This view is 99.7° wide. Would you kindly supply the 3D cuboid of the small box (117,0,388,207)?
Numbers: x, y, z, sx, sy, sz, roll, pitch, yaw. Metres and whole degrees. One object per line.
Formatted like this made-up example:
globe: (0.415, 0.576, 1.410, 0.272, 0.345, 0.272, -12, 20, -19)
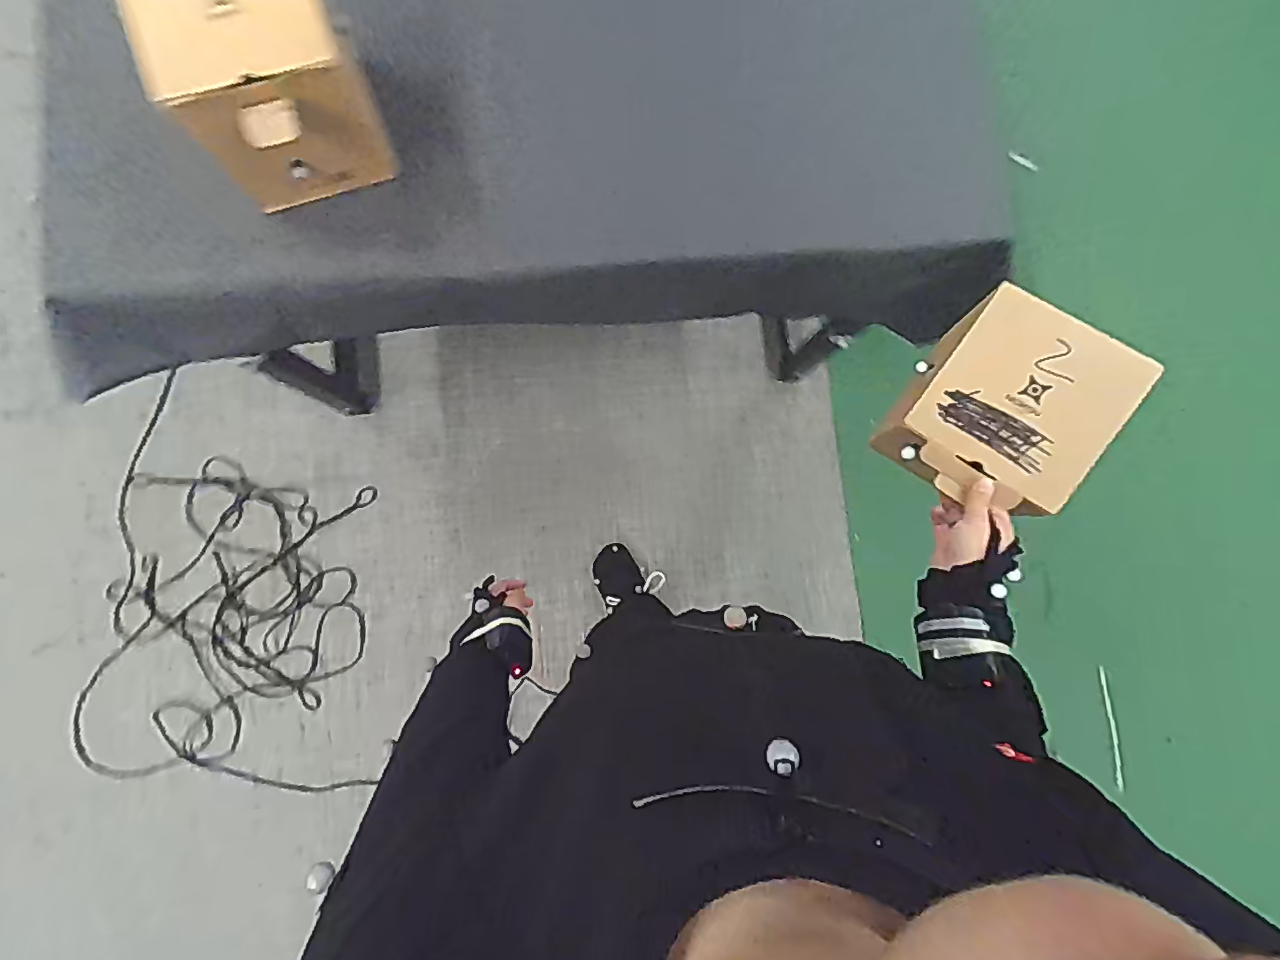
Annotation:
small box: (-0.404, -0.439, 0.583, 0.168, 0.176, 0.179, -21, 87, -7)
